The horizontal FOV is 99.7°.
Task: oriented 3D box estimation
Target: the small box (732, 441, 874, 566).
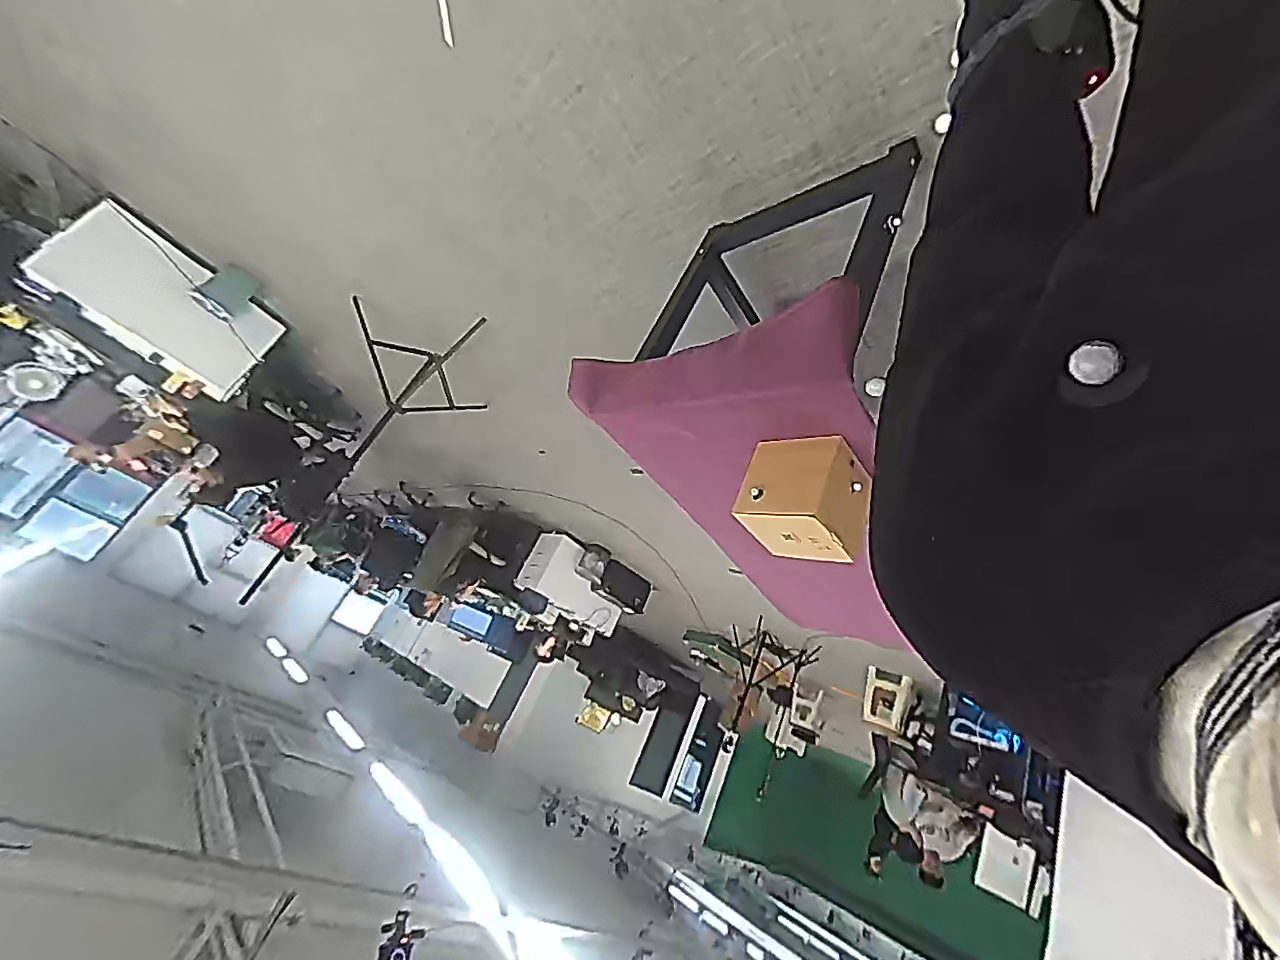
[{"bbox_3d":[0.308,0.042,1.013,0.179,0.176,0.168,-2,146,47],"label":"small box"}]
